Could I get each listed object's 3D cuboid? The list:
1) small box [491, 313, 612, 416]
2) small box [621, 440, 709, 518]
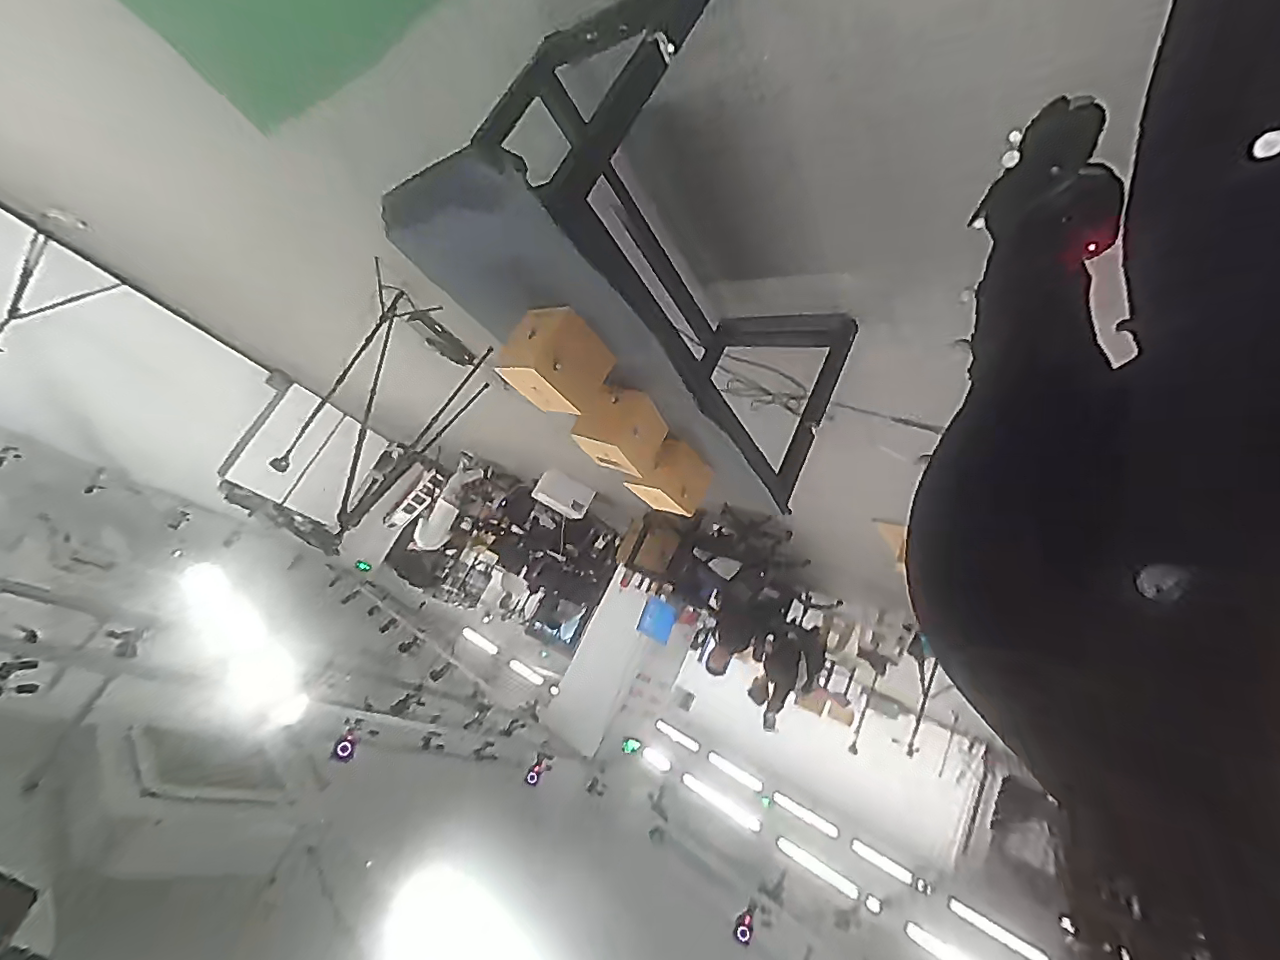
[{"bbox_3d":[-0.199,-0.268,1.240,0.168,0.176,0.179,13,159,43],"label":"small box"},{"bbox_3d":[0.079,-0.007,1.640,0.168,0.176,0.179,10,158,46],"label":"small box"}]
